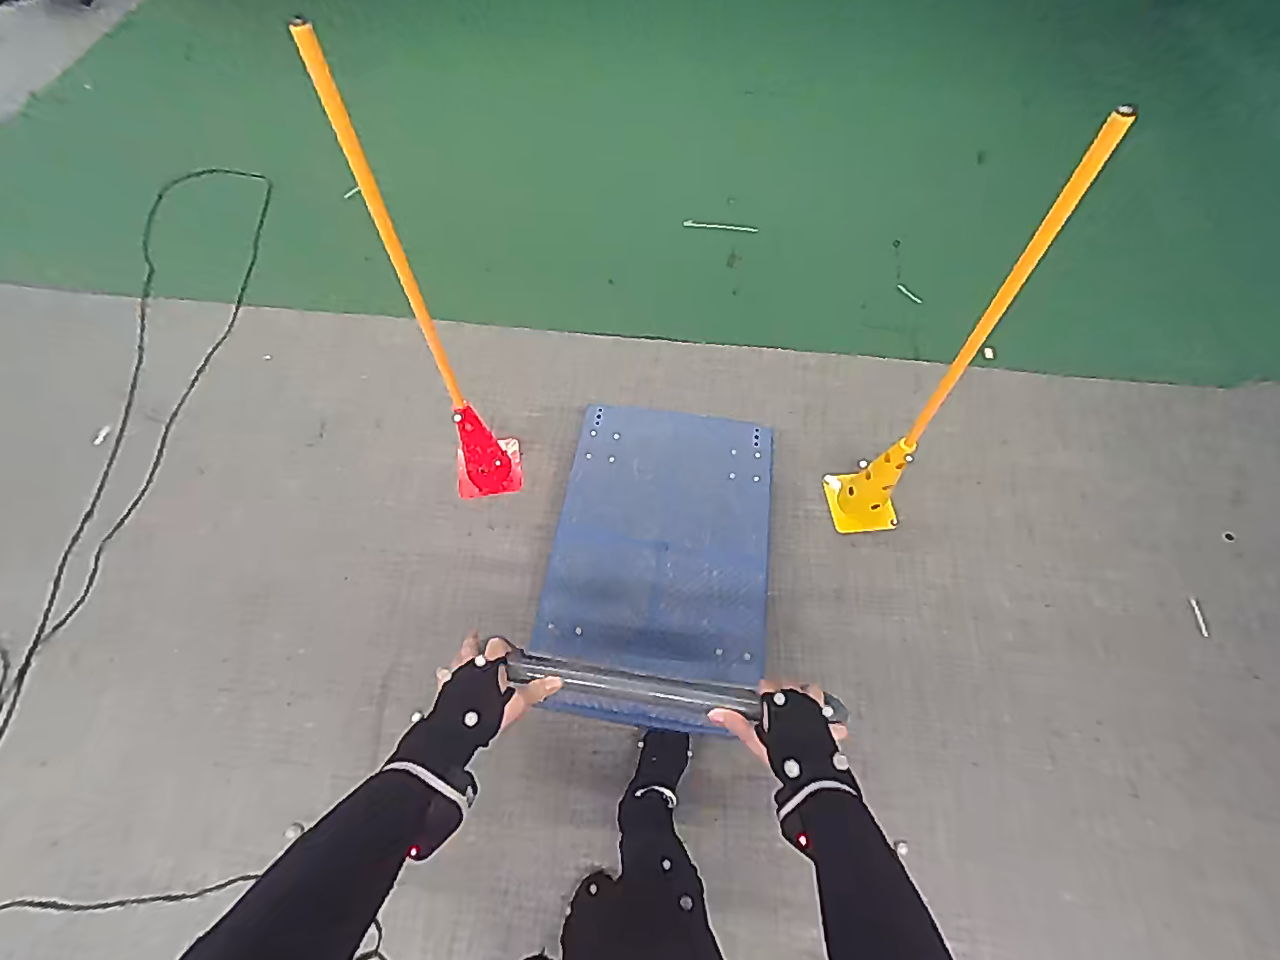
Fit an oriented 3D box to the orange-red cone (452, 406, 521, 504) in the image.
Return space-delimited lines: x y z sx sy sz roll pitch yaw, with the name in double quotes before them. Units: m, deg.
"orange-red cone" -0.484 -0.099 1.592 0.199 0.360 0.198 -8 62 -4
